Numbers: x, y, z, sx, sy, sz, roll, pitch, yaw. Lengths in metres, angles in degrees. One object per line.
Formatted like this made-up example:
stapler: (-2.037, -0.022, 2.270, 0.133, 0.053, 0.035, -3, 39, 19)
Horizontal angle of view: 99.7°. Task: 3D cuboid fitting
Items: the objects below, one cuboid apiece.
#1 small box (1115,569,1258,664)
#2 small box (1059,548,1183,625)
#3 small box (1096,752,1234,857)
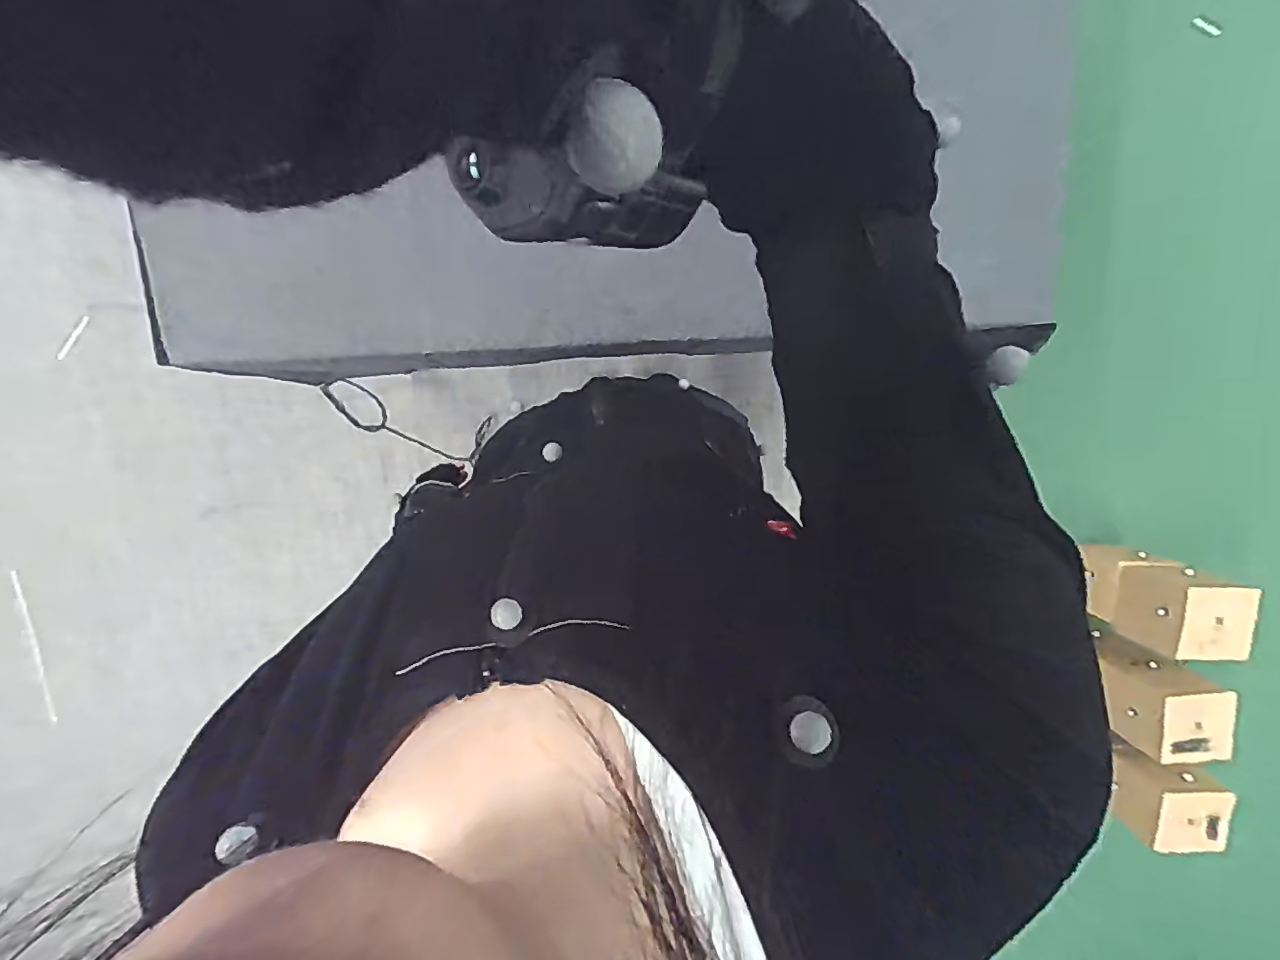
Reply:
small box: (1.295, 0.319, 1.295, 0.168, 0.176, 0.179, 2, 99, -1)
small box: (1.284, 0.284, 1.457, 0.179, 0.176, 0.168, 3, 99, -1)
small box: (1.328, 0.820, 1.379, 0.179, 0.176, 0.168, -1, 100, -1)
